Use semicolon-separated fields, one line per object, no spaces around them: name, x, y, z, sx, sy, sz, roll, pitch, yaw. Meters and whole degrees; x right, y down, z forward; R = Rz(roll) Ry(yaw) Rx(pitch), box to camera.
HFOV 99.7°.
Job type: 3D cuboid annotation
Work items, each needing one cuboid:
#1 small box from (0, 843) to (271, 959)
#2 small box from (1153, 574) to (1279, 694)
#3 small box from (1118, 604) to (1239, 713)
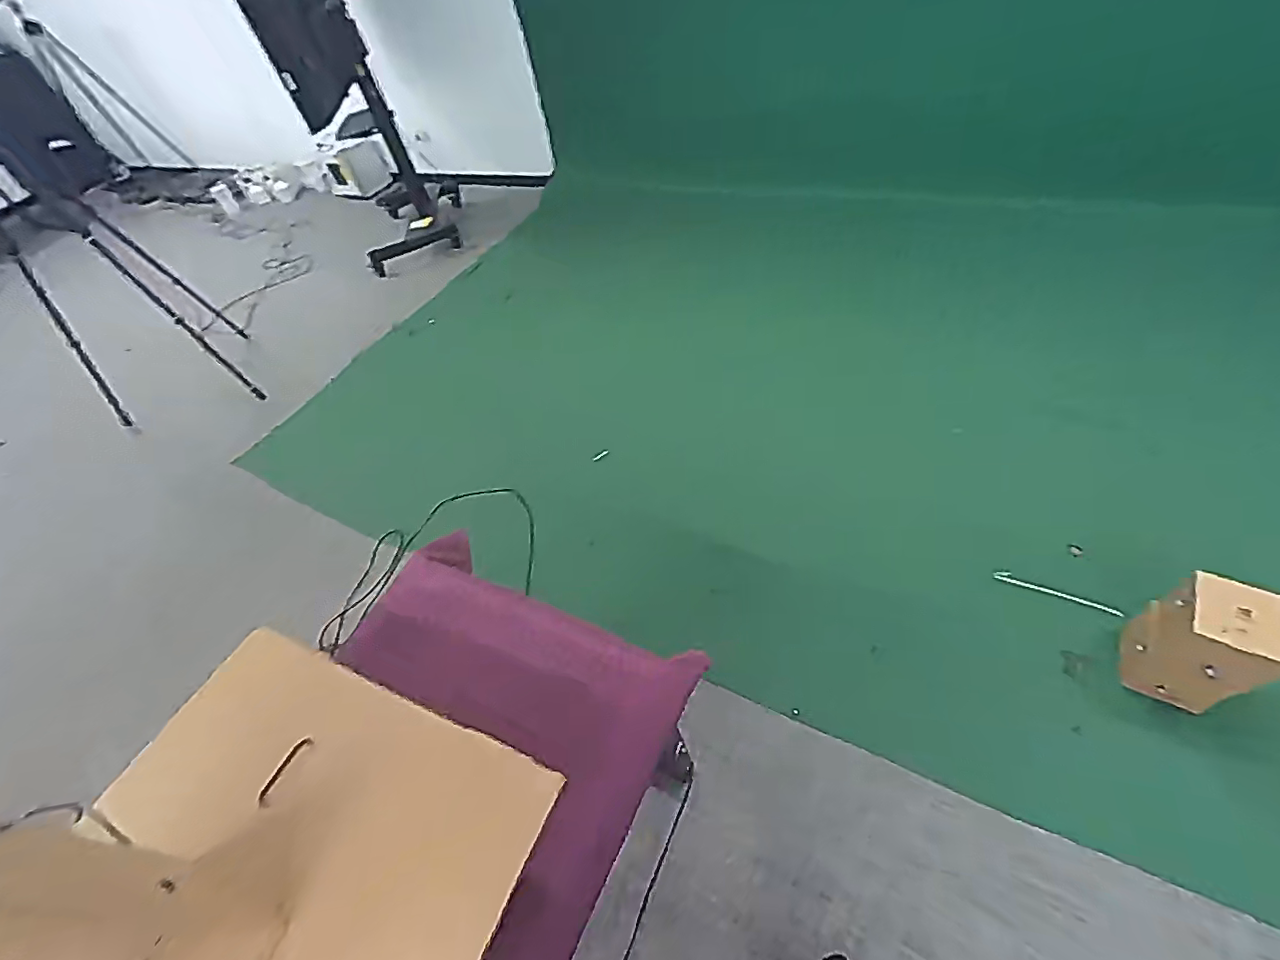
small box;-0.524;0.498;0.536;0.179;0.176;0.168;13;52;22
small box;1.323;0.352;1.235;0.168;0.176;0.179;21;59;27
small box;1.349;0.452;1.363;0.168;0.176;0.179;20;58;26
